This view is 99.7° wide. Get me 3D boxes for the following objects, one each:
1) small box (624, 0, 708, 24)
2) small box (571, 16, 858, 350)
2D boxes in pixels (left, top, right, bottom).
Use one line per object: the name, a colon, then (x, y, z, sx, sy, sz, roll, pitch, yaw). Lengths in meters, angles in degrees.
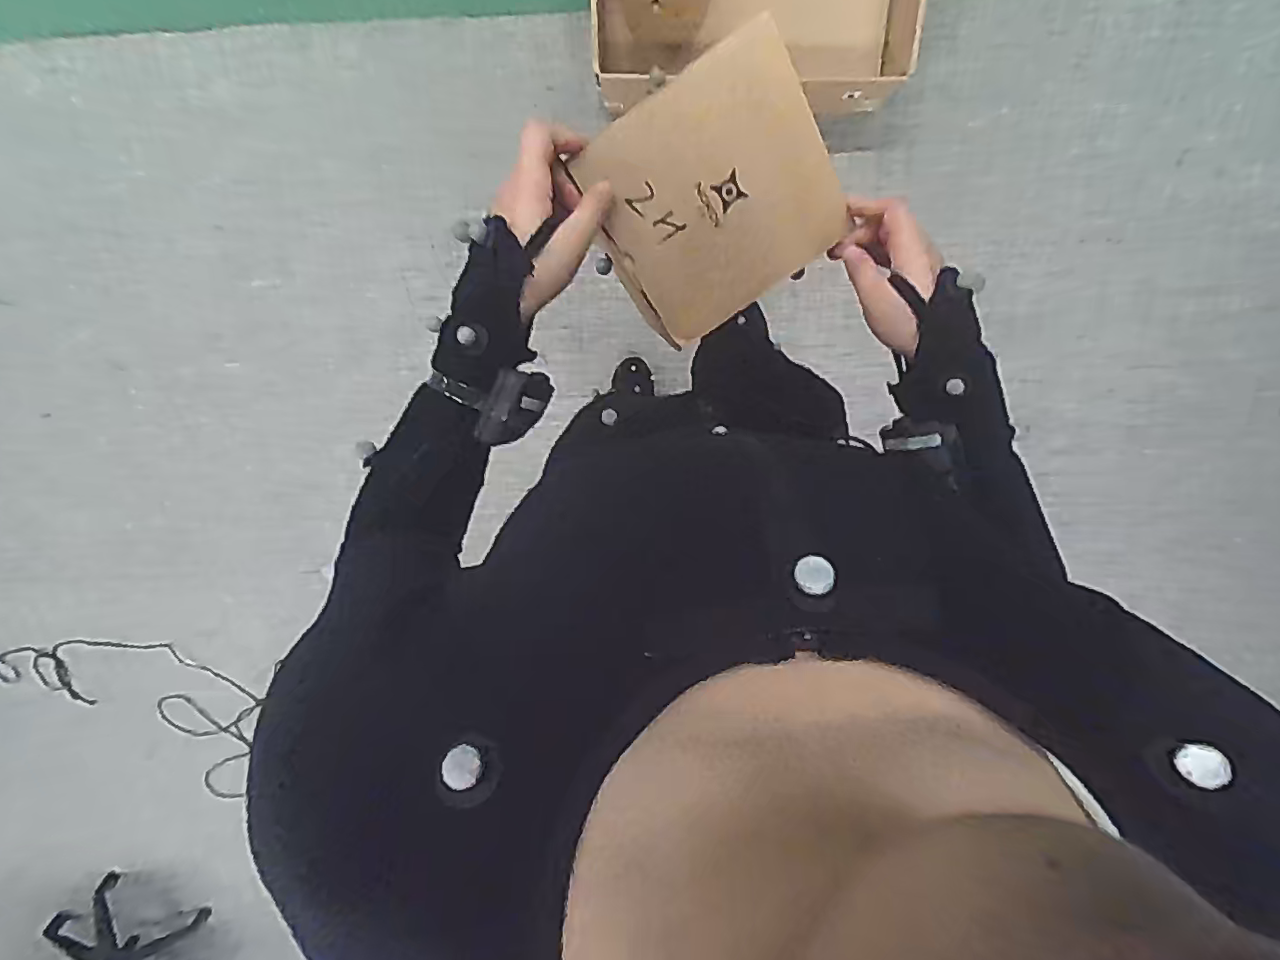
small box: (0.050, -0.989, 1.010, 0.168, 0.176, 0.179, -1, 111, 1)
small box: (0.051, -0.246, 0.484, 0.179, 0.176, 0.168, -34, 113, 7)
